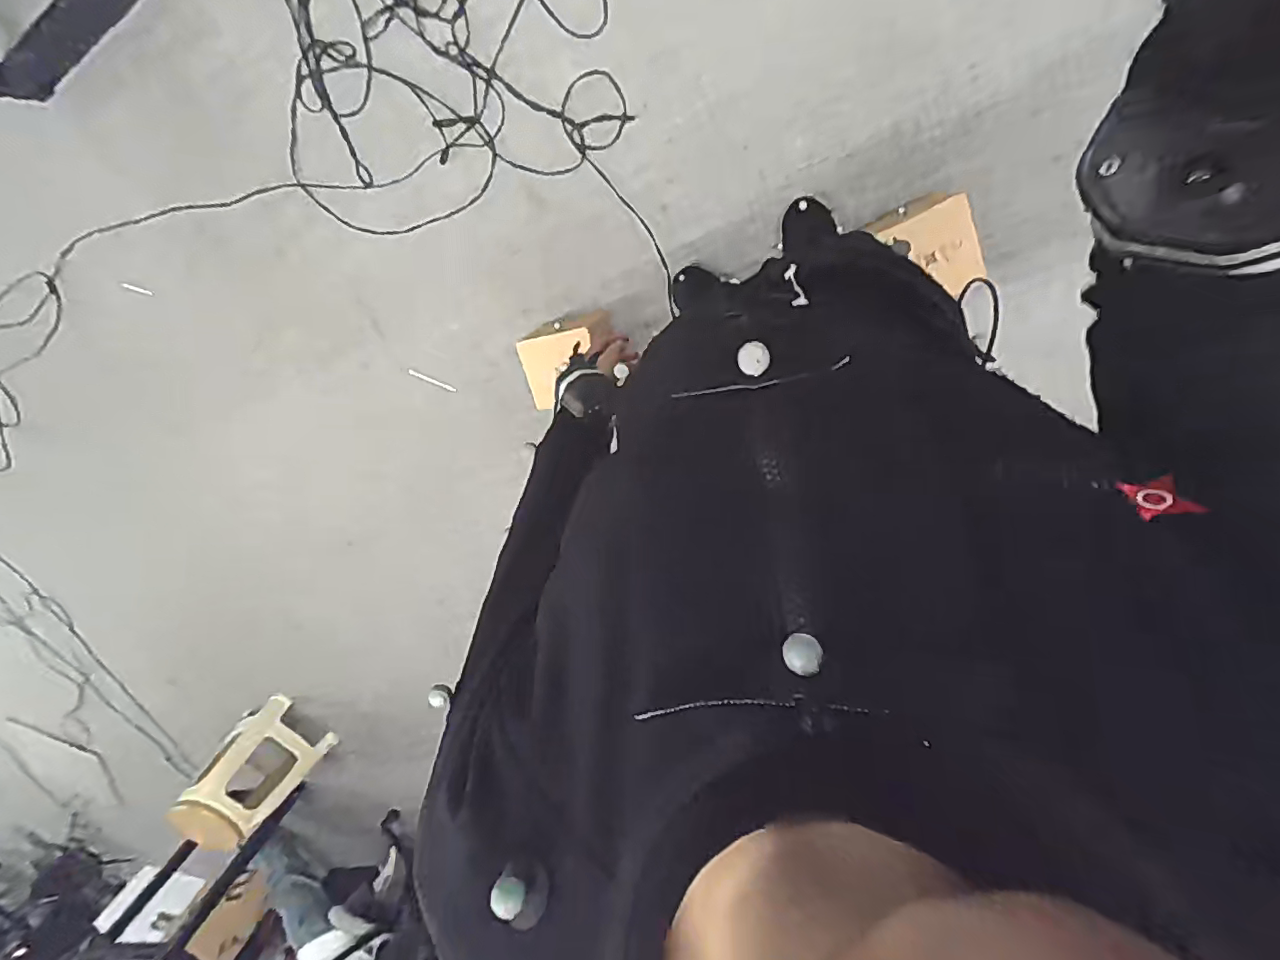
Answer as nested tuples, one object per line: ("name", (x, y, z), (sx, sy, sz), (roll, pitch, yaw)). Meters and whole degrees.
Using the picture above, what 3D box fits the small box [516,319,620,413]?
("small box", (-0.163, -0.274, 1.284), (0.179, 0.176, 0.168), (-8, 115, 15))
